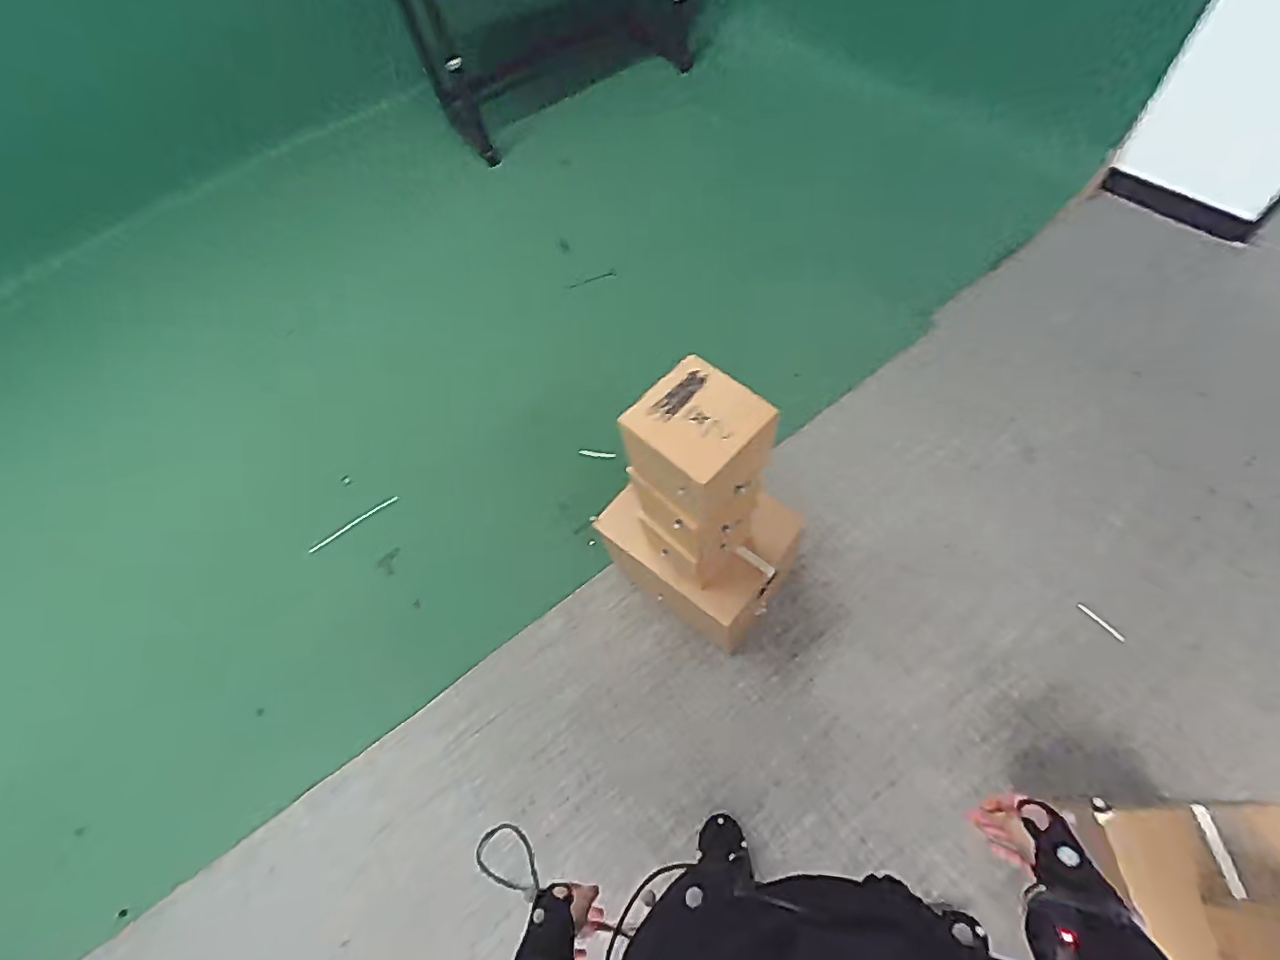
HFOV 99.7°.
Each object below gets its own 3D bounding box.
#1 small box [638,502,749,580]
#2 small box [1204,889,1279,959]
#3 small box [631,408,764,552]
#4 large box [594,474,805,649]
[{"bbox_3d":[0.122,0.085,1.156,0.179,0.176,0.168,-43,65,-14],"label":"small box"},{"bbox_3d":[0.937,0.669,0.715,0.168,0.176,0.179,-8,62,3],"label":"small box"},{"bbox_3d":[0.108,0.006,1.015,0.168,0.176,0.179,-42,65,-14],"label":"small box"},{"bbox_3d":[0.156,0.166,1.390,0.408,0.320,0.320,34,70,25],"label":"large box"}]
